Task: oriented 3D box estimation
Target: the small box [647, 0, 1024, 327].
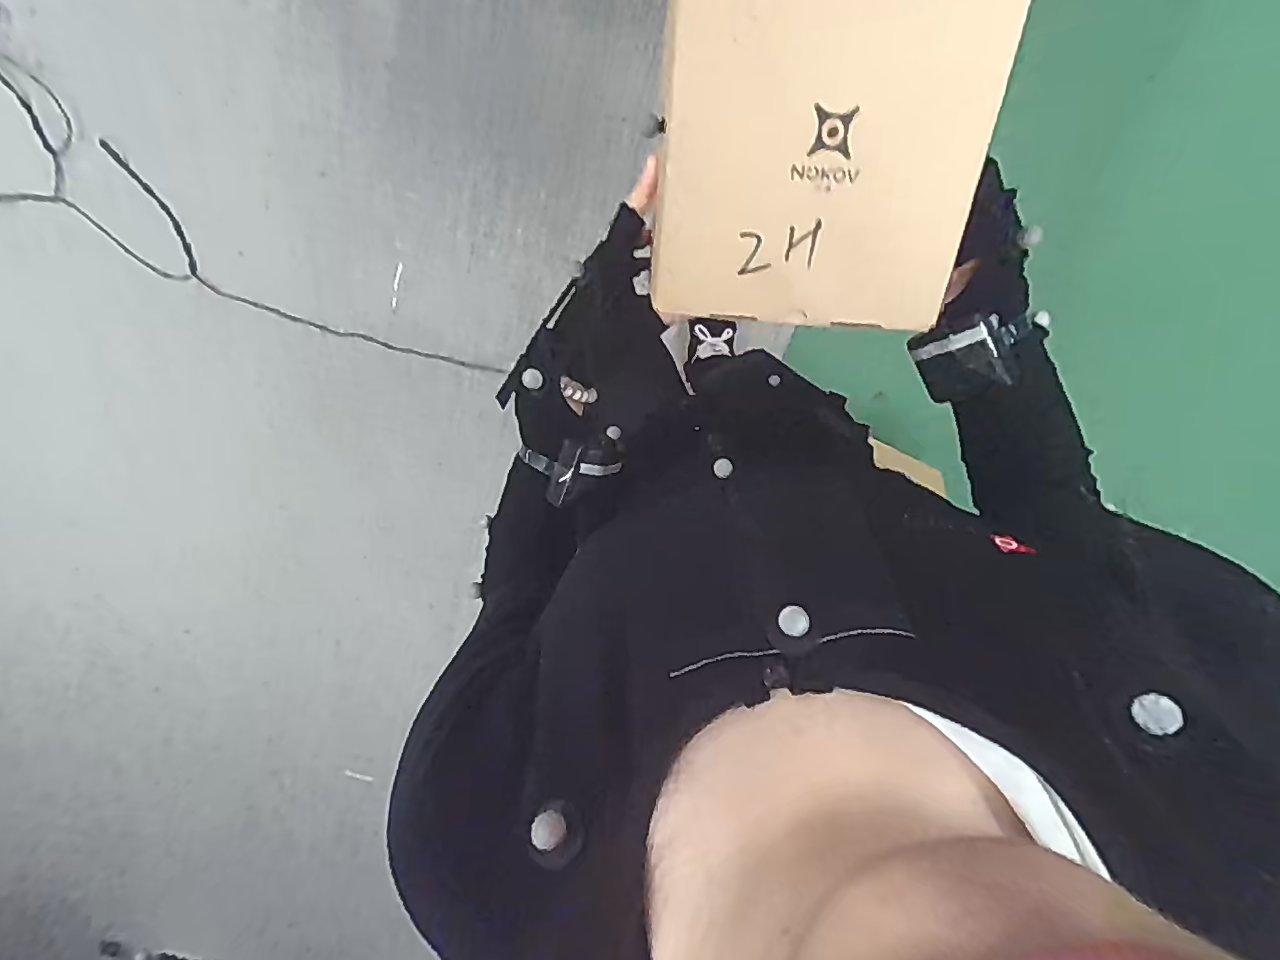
[{"bbox_3d":[0.093,-0.205,0.348,0.168,0.176,0.179,3,115,-1],"label":"small box"}]
